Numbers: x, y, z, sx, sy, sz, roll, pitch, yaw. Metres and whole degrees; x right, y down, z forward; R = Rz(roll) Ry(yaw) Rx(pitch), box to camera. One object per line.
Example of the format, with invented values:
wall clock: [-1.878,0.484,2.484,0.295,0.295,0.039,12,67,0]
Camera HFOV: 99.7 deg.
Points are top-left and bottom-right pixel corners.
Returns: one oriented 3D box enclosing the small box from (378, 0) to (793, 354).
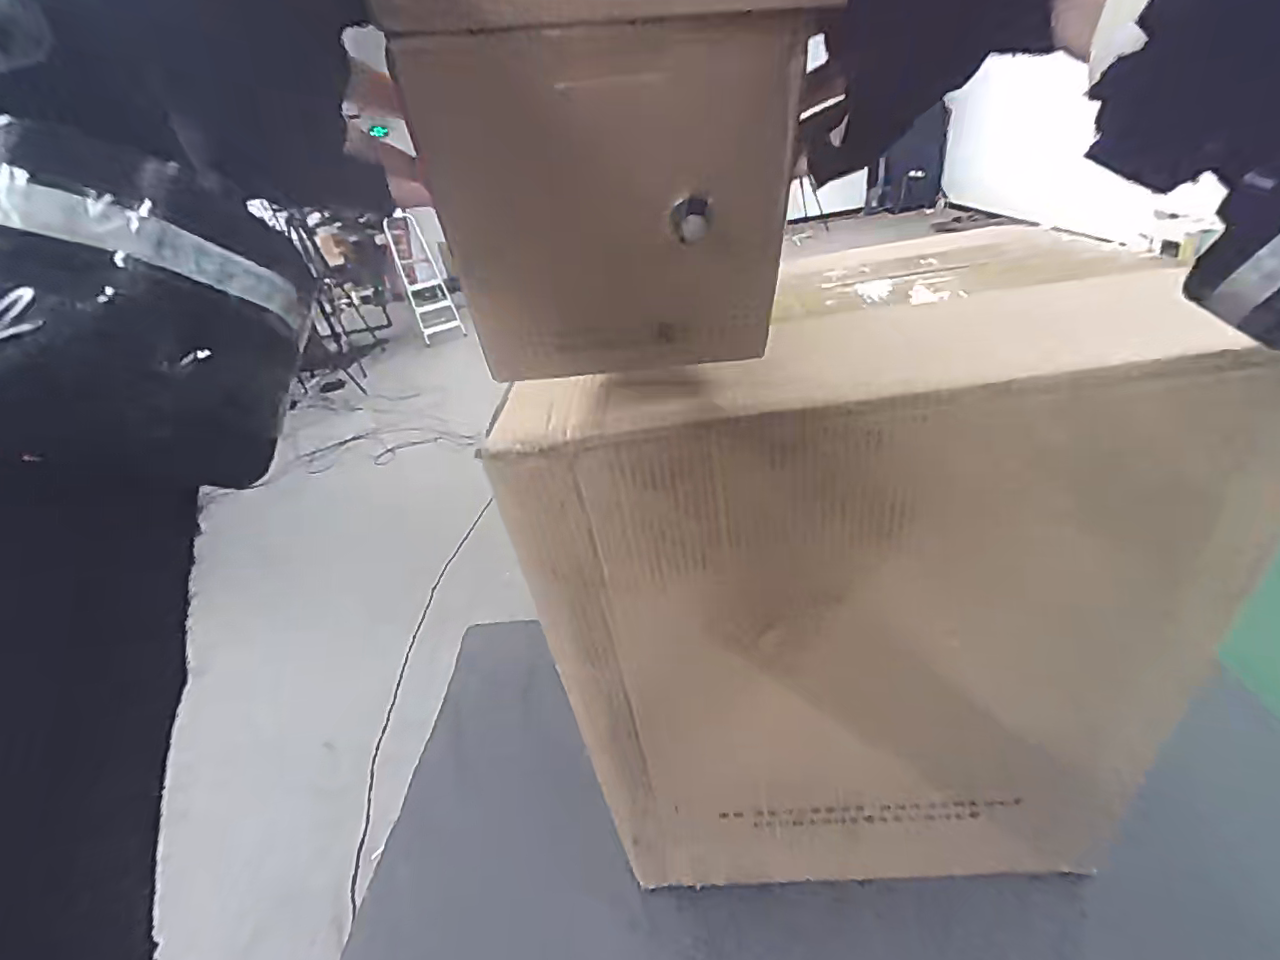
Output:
small box: [-0.023,-0.189,0.317,0.168,0.176,0.179,-9,52,-2]
